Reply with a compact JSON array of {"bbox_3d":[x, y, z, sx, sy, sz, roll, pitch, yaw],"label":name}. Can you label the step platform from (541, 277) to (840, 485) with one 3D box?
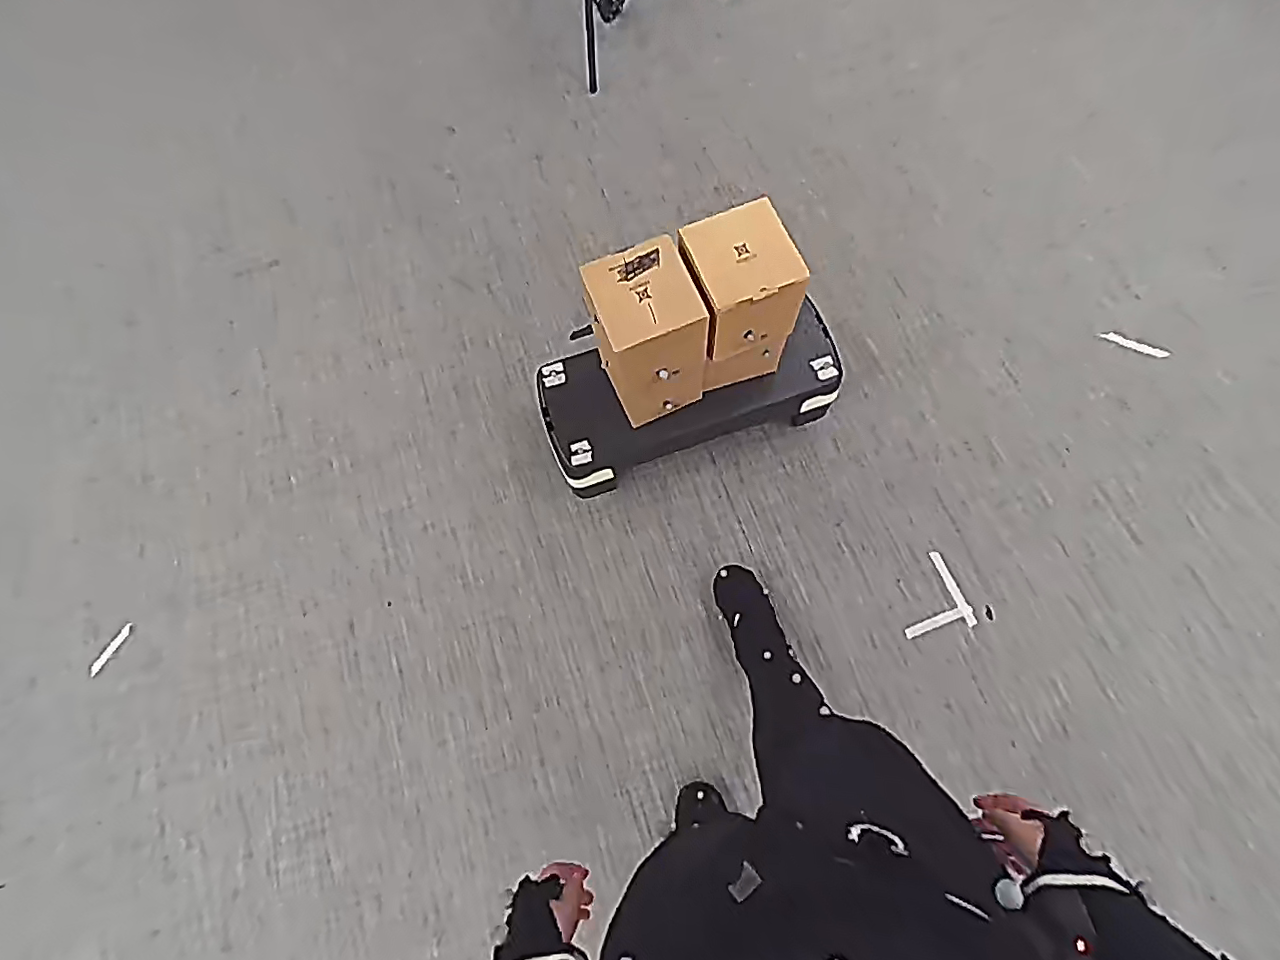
[{"bbox_3d":[0.113,-0.233,1.295,0.684,0.204,0.286,-20,72,-1],"label":"step platform"}]
